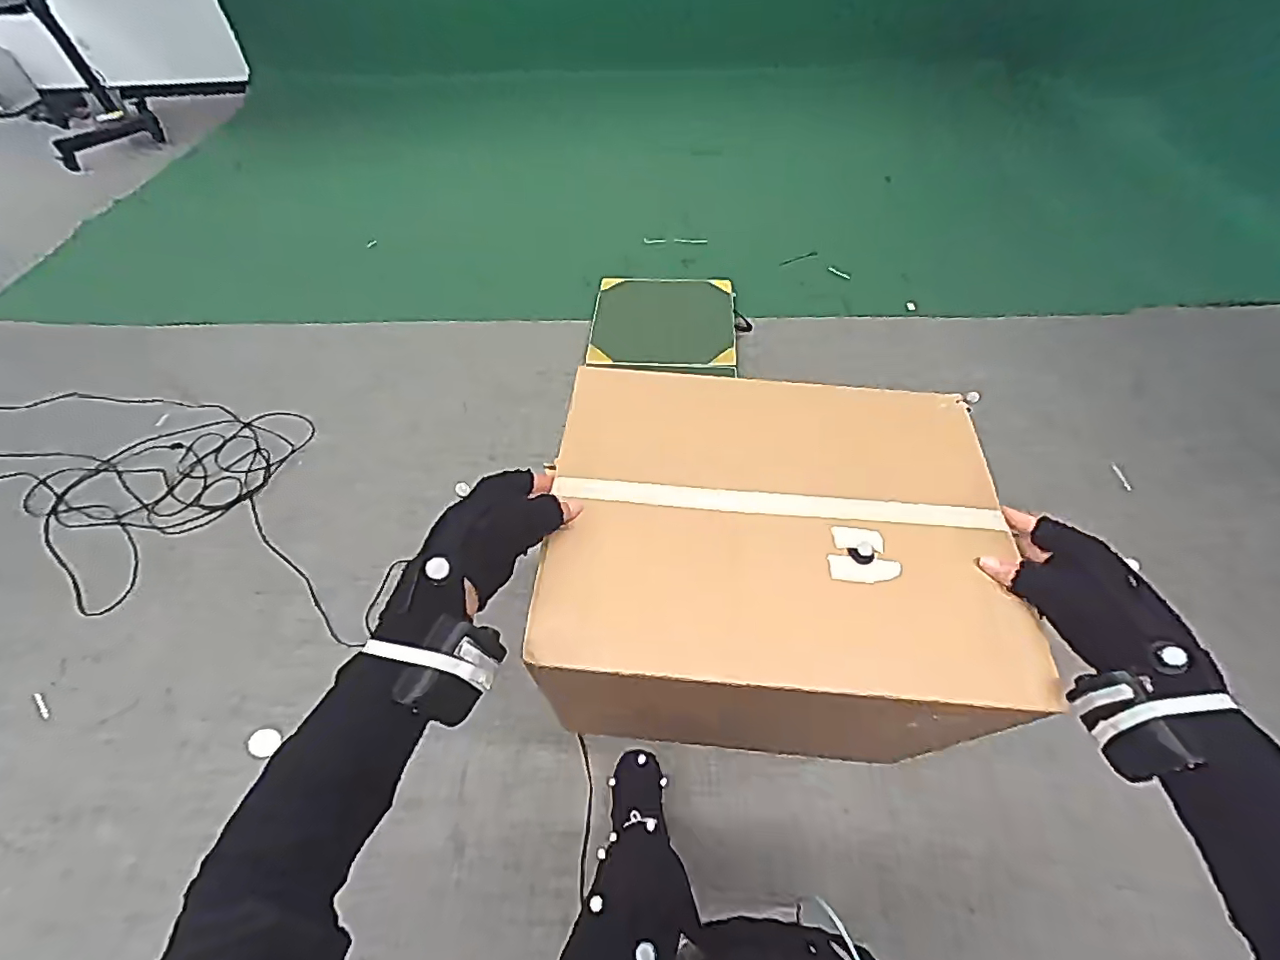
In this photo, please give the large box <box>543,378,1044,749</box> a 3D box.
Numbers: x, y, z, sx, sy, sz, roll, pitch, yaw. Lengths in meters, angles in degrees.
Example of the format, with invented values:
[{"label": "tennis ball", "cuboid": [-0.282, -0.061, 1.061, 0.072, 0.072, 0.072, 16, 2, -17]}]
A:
[{"label": "large box", "cuboid": [0.122, 0.110, 0.626, 0.408, 0.320, 0.320, 5, 57, 1]}]
